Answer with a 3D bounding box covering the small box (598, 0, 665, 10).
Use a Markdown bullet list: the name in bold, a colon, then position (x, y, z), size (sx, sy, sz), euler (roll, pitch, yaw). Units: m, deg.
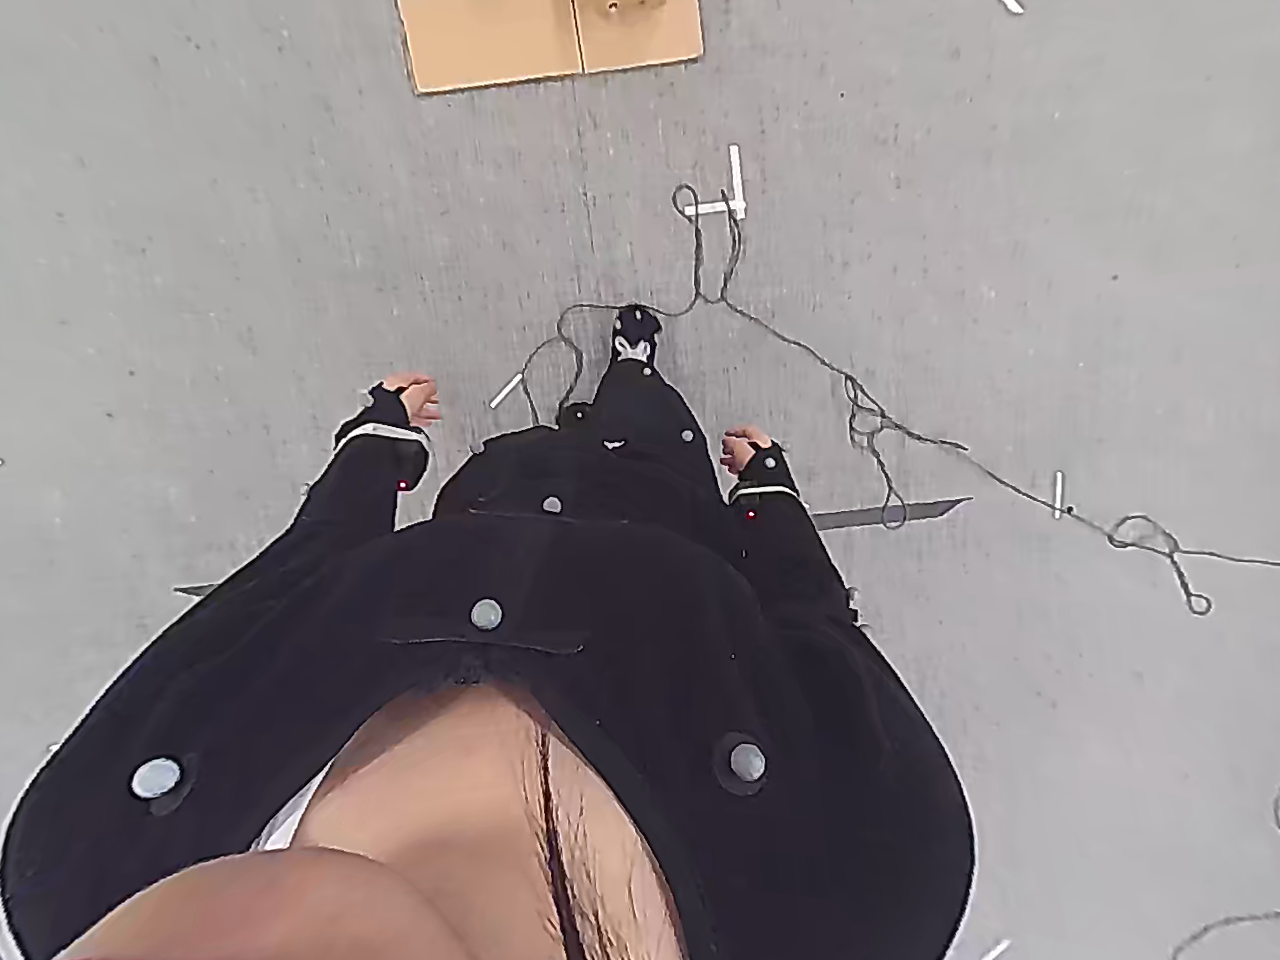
- **small box**: position (-0.026, -1.176, 1.181), size (0.168, 0.176, 0.179), euler (-12, 101, -2)
